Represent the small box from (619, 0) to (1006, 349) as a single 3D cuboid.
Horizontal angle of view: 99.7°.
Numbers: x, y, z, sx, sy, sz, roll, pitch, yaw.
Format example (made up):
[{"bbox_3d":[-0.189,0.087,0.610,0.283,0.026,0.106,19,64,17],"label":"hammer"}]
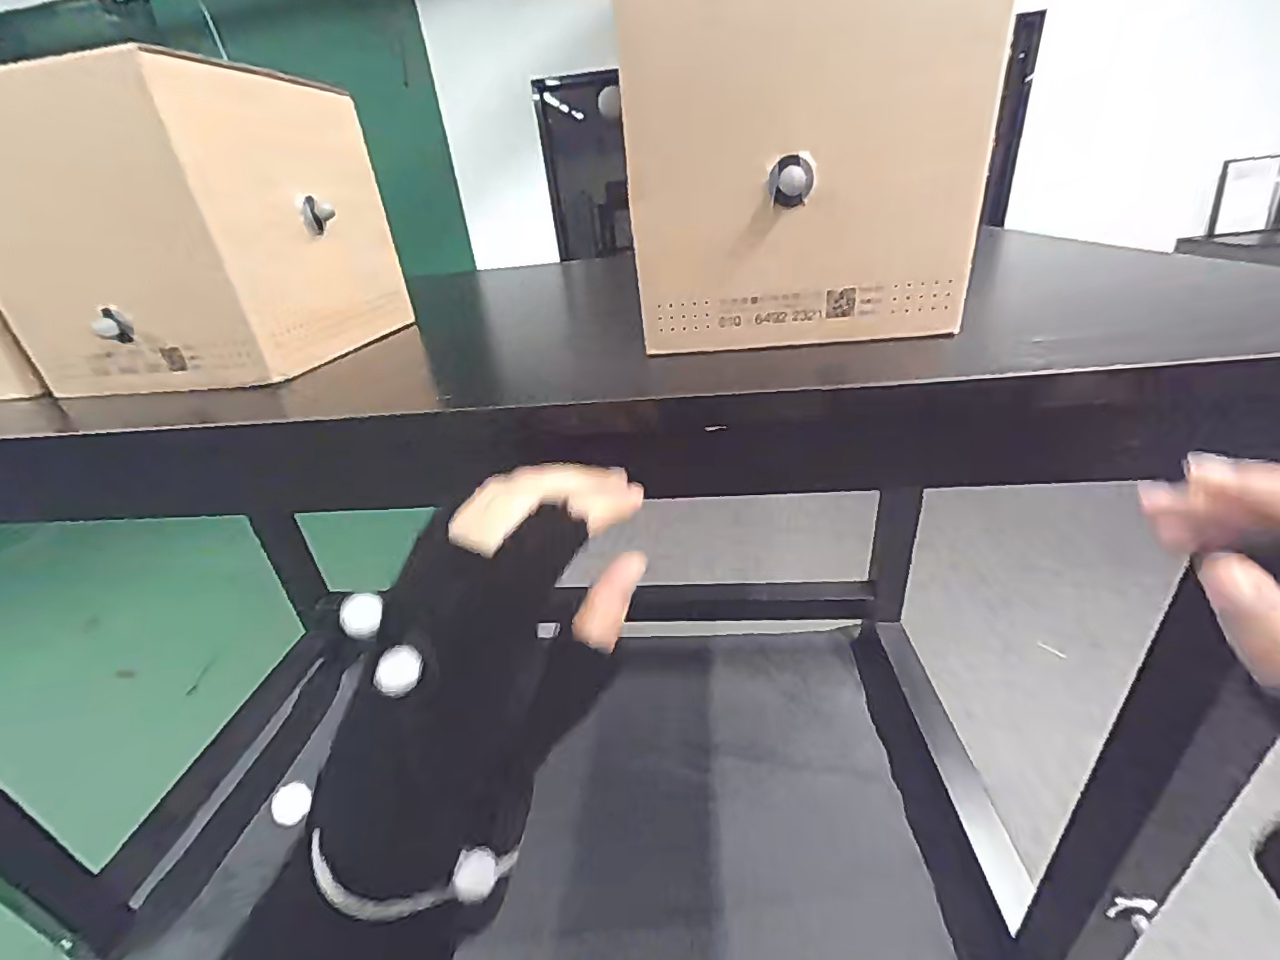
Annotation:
[{"bbox_3d":[0.089,-0.181,0.328,0.168,0.176,0.179,-1,29,8],"label":"small box"}]
